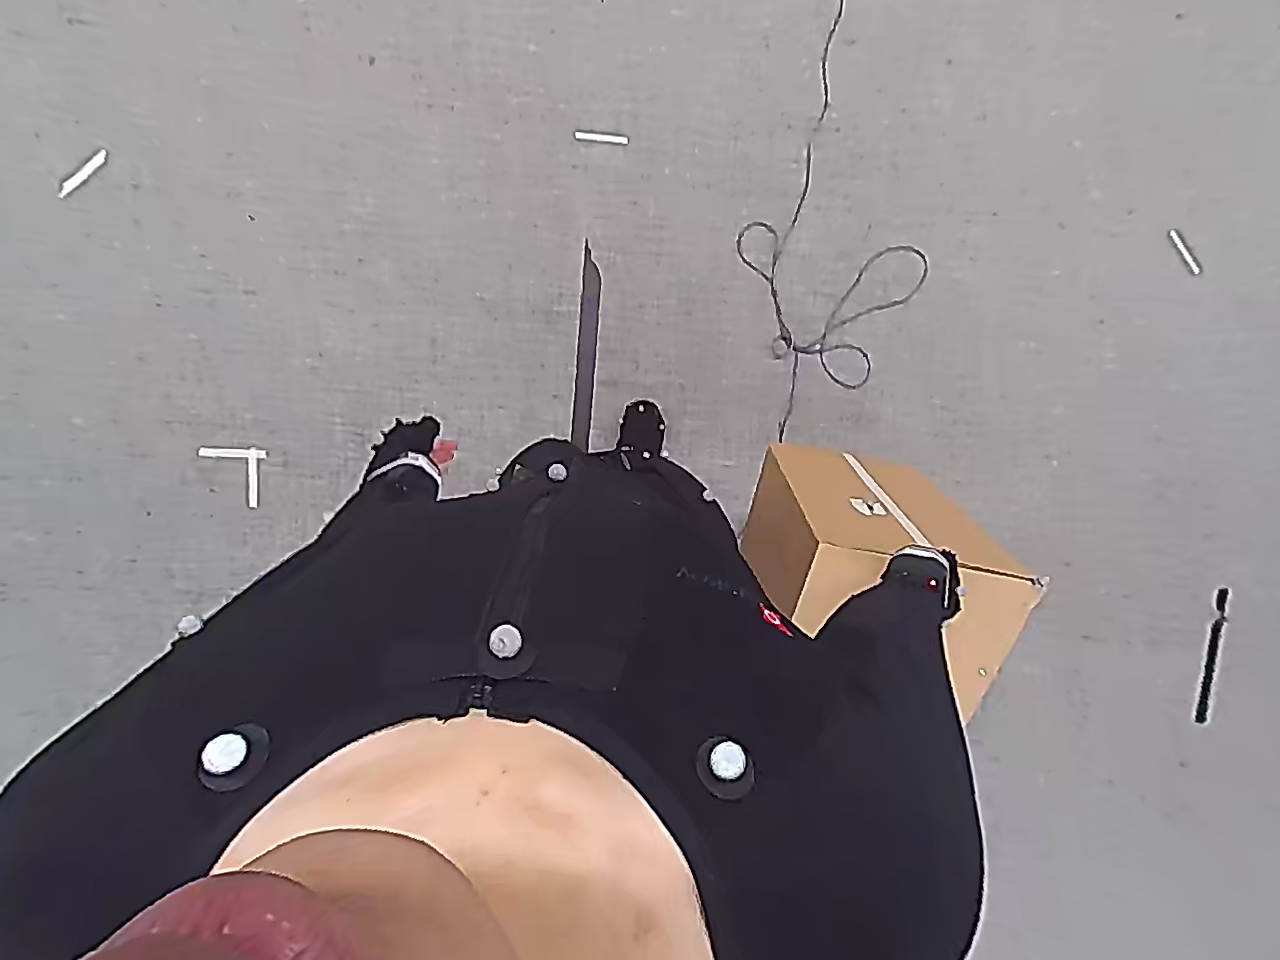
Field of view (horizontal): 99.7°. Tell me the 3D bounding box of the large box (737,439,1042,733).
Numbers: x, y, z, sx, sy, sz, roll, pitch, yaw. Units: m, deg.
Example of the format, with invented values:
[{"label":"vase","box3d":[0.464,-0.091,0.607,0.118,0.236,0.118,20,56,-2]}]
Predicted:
[{"label":"large box","box3d":[0.380,0.162,0.969,0.320,0.408,0.320,10,115,-1]}]
